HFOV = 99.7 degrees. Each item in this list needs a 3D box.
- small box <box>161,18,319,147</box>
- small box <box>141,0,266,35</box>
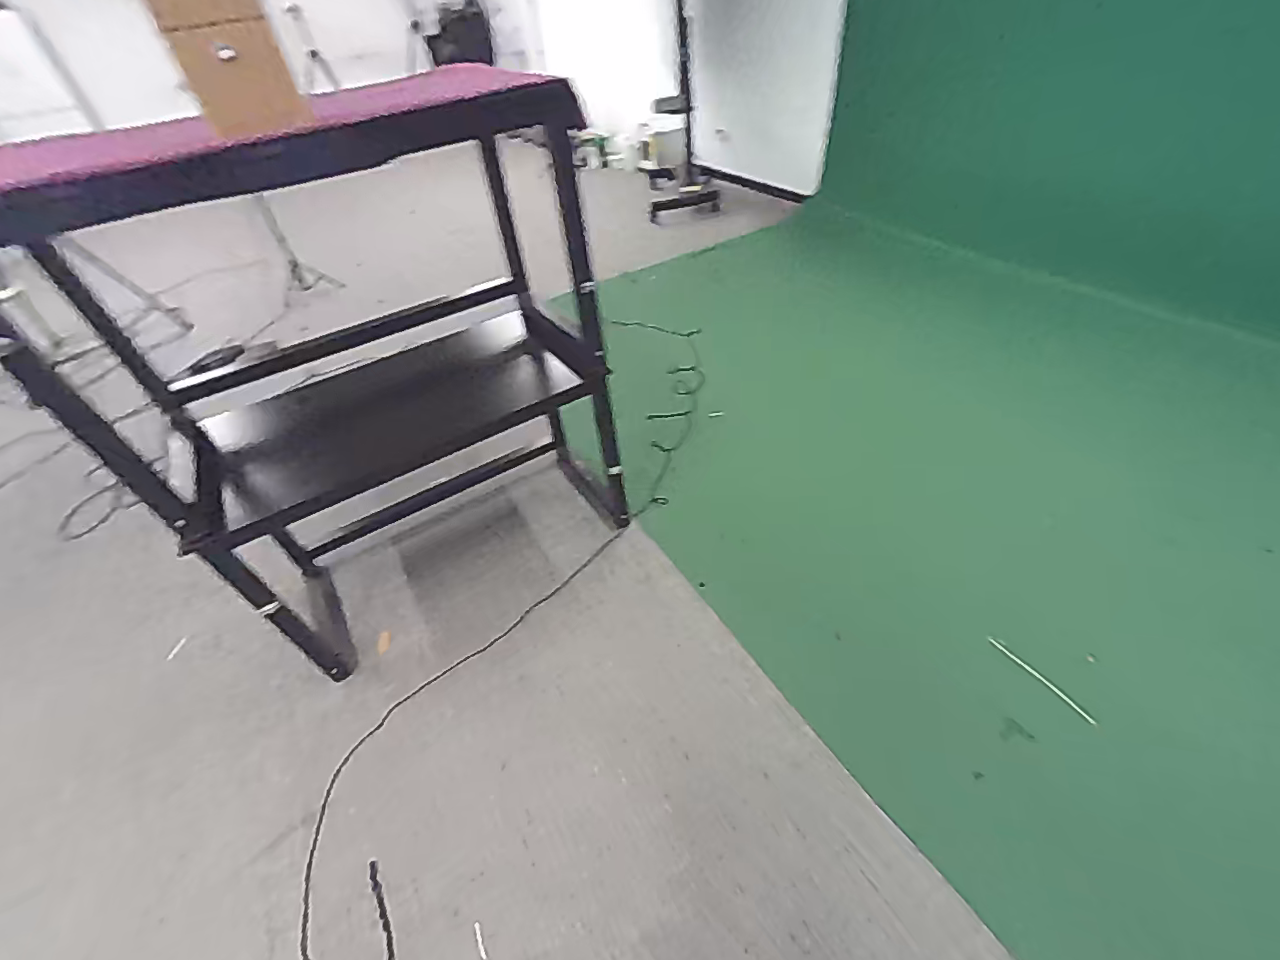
[{"bbox_3d":[-0.745,-0.746,1.017,0.179,0.176,0.168,-28,47,-21],"label":"small box"},{"bbox_3d":[-0.761,-0.865,0.905,0.179,0.176,0.168,-29,48,-20],"label":"small box"}]
